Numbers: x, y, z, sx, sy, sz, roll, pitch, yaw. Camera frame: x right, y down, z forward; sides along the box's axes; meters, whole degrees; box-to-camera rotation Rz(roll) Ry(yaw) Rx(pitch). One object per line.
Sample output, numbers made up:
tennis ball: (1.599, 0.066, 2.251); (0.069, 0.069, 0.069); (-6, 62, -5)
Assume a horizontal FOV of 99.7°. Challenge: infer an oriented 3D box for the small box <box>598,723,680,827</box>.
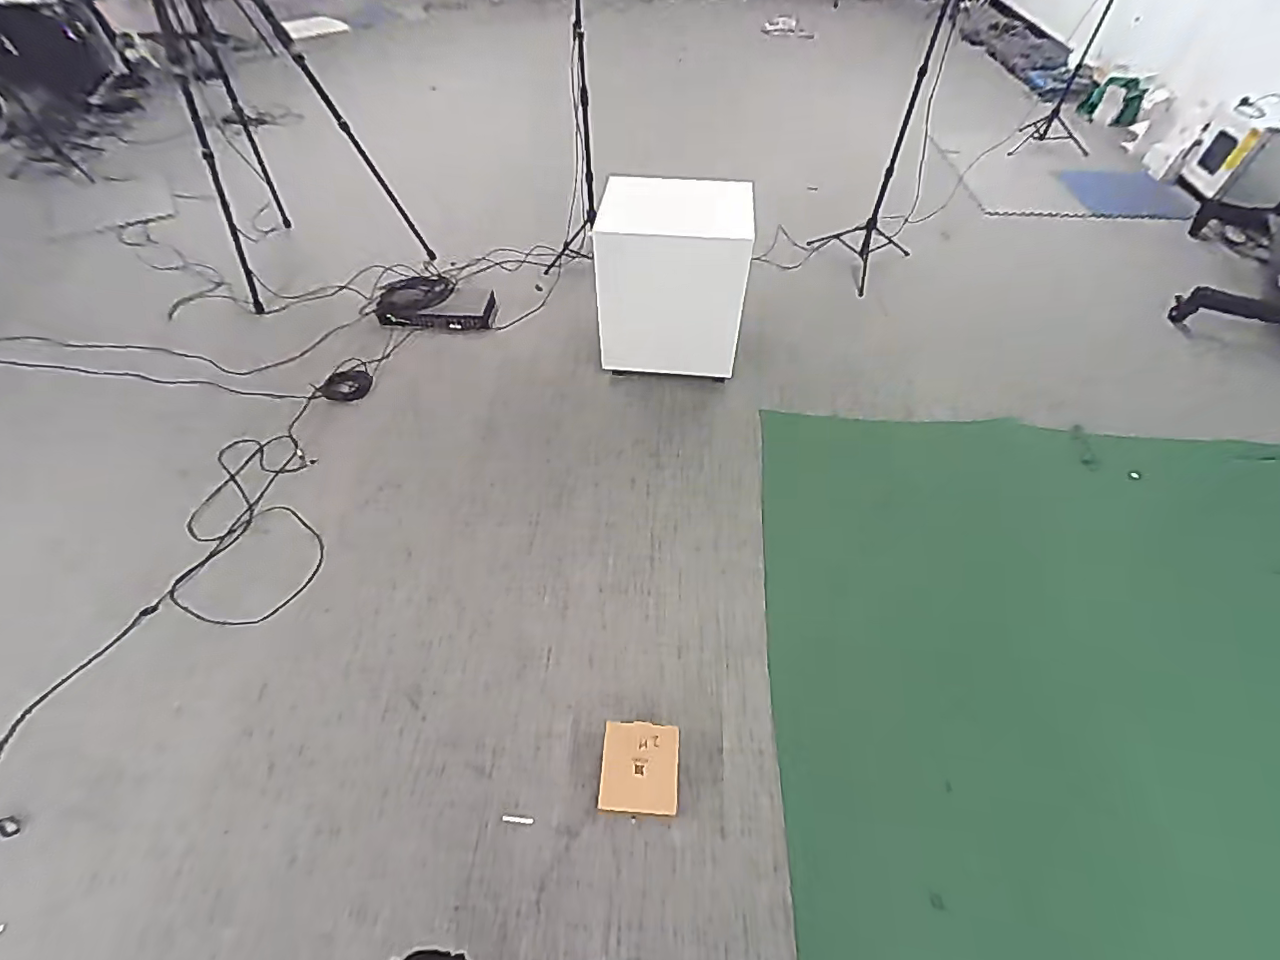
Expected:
small box: (0.002, 0.668, 1.219); (0.168, 0.176, 0.179); (4, 52, 2)
